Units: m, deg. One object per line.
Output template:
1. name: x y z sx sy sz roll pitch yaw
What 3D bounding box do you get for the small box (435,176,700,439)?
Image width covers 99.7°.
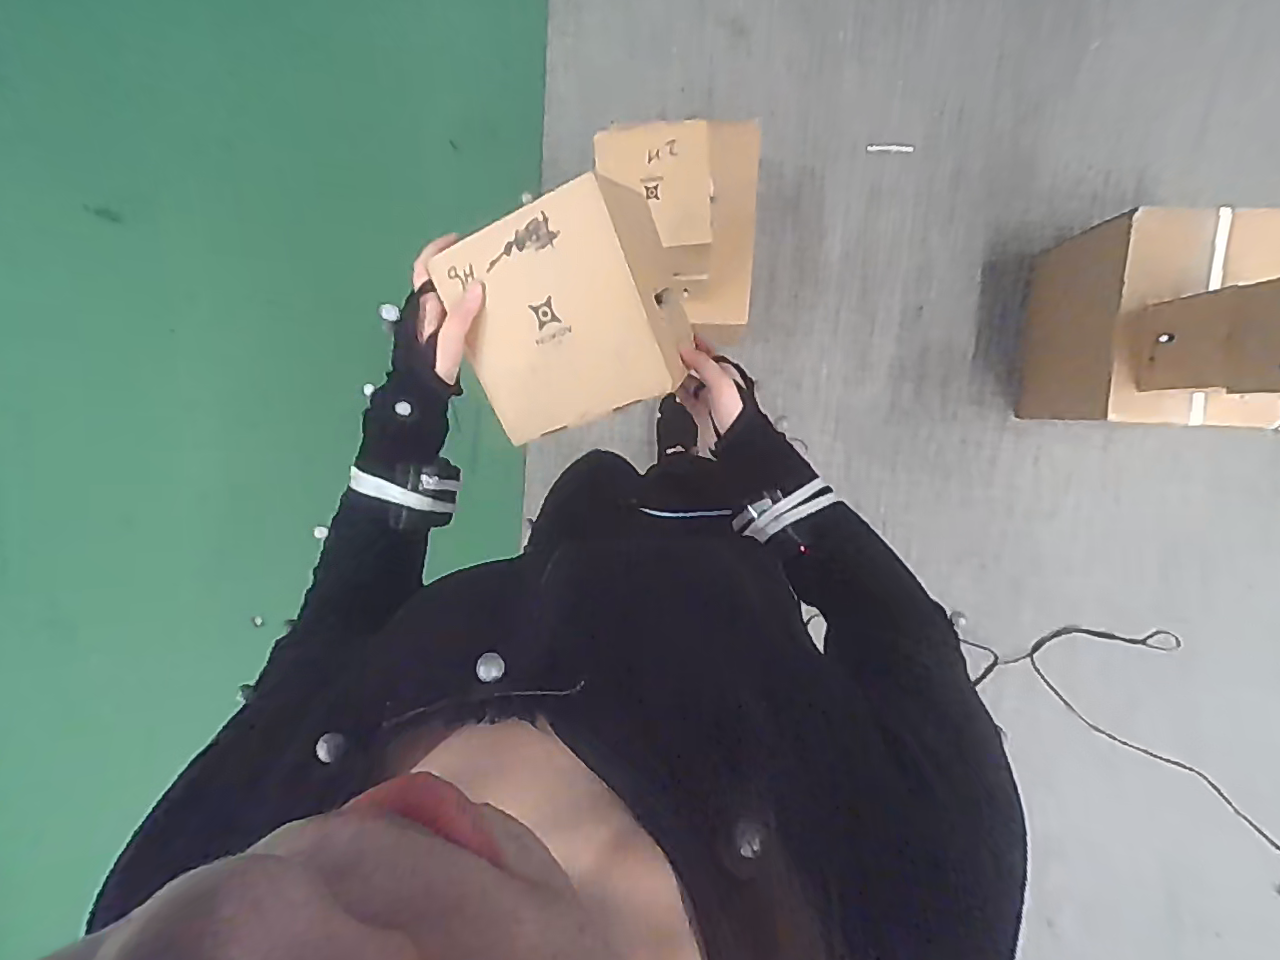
1. small box: -0.051 -0.165 0.524 0.168 0.176 0.179 -16 108 20

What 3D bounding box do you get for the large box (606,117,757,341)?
1. large box: 0.094 -0.547 1.261 0.320 0.320 0.408 3 97 5

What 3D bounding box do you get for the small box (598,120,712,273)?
1. small box: 0.031 -0.436 0.867 0.168 0.176 0.179 -2 96 6

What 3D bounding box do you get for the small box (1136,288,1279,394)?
1. small box: 1.049 -0.240 0.959 0.179 0.176 0.168 2 98 7

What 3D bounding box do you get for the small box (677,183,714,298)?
1. small box: 0.048 -0.449 1.030 0.179 0.176 0.168 2 96 7
